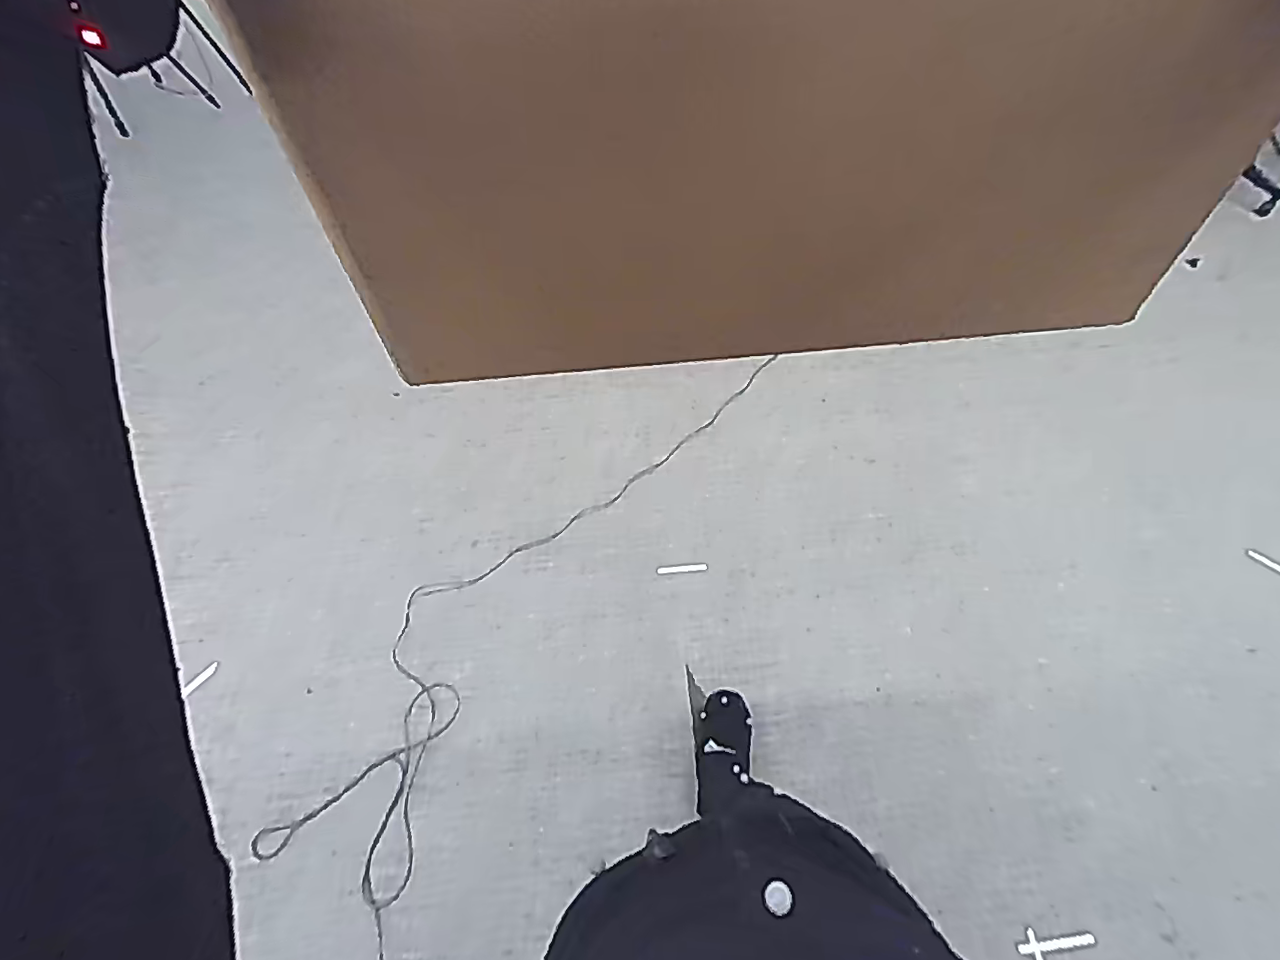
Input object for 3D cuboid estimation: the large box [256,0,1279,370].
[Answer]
[{"bbox_3d":[0.049,-0.288,0.294,0.408,0.320,0.320,-5,51,-1],"label":"large box"}]
